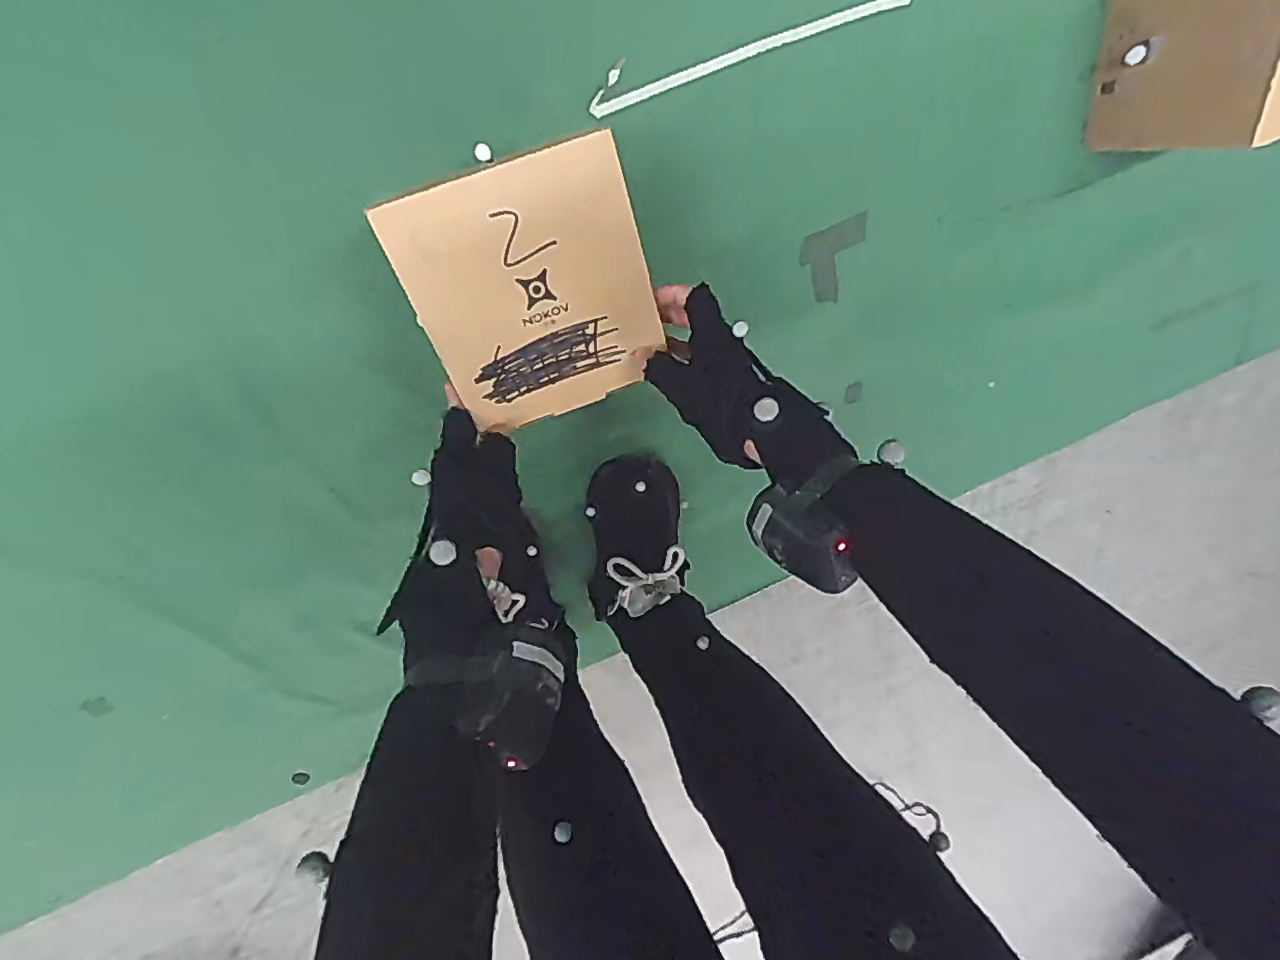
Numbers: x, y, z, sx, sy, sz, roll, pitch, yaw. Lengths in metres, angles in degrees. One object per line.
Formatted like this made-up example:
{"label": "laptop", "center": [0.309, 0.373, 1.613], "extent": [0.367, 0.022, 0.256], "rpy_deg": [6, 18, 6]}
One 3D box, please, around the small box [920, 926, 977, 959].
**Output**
{"label": "small box", "center": [1.226, 1.900, 2.123], "extent": [0.168, 0.176, 0.179], "rpy_deg": [-25, 124, -3]}

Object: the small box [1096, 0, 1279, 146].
{"label": "small box", "center": [0.589, -0.430, 0.501], "extent": [0.179, 0.176, 0.168], "rpy_deg": [-22, 124, -4]}
